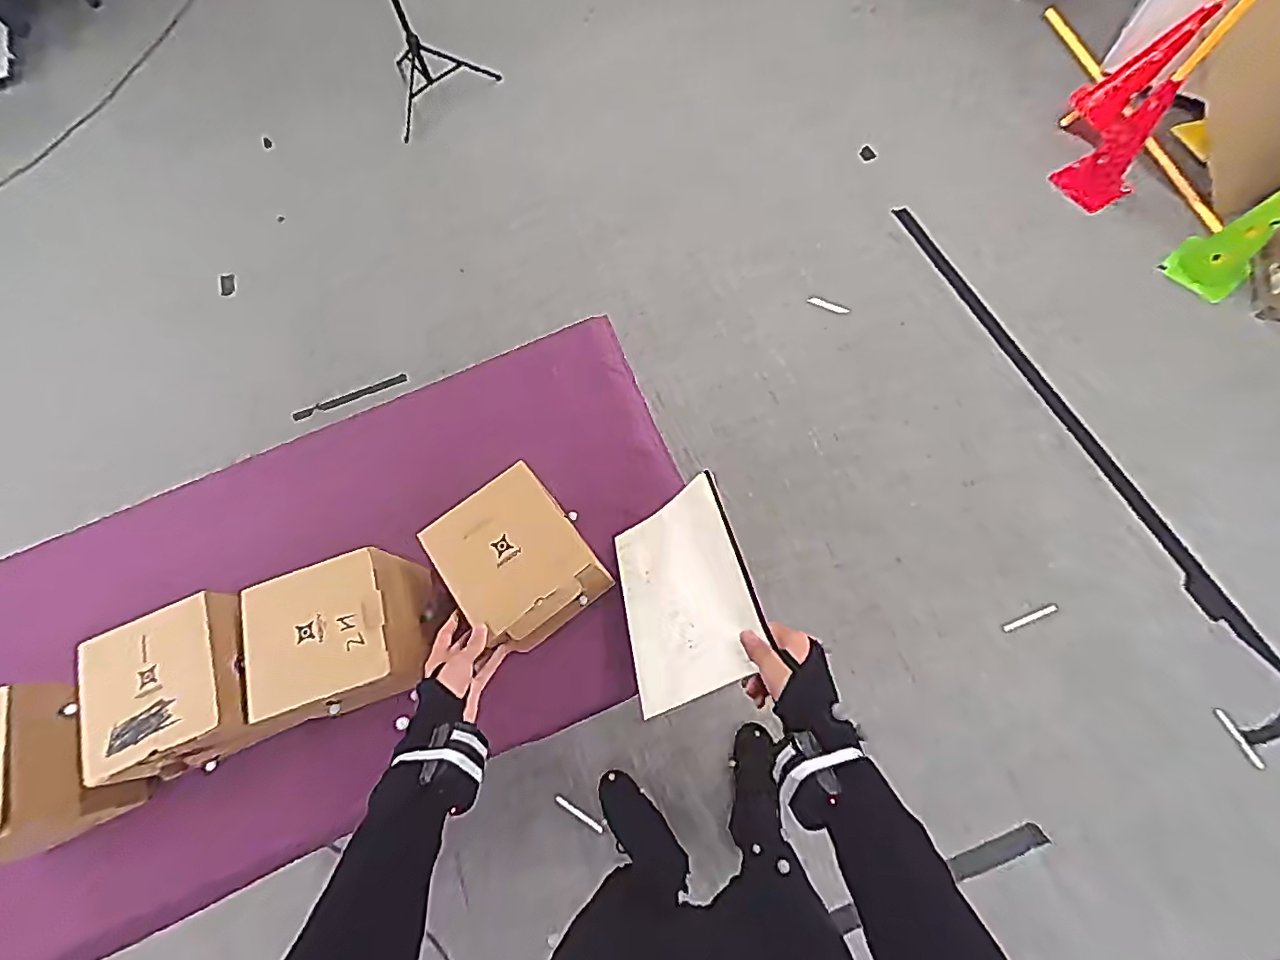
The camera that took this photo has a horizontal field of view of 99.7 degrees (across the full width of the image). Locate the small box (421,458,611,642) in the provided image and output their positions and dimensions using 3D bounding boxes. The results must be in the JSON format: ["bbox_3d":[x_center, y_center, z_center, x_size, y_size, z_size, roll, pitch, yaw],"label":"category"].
[{"bbox_3d":[-0.158,0.105,0.745,0.168,0.176,0.179,-36,70,-8],"label":"small box"}]
